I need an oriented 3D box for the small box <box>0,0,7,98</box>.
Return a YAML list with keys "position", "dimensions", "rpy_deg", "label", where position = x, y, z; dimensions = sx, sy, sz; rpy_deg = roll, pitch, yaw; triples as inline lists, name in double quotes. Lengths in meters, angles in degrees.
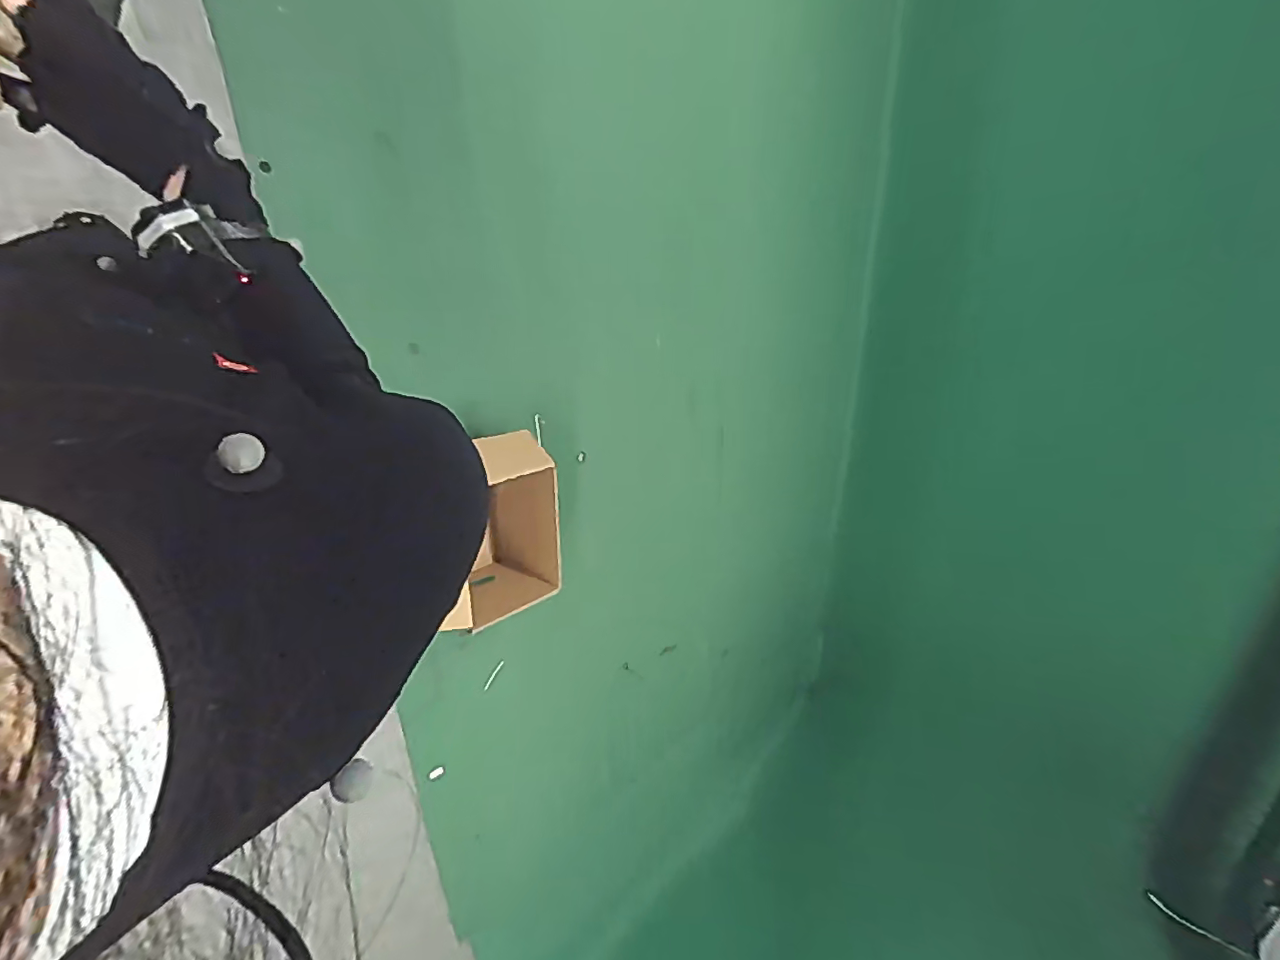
- position: [-0.412, -0.302, 0.236]
  dimensions: [0.168, 0.176, 0.179]
  rpy_deg: [-7, 109, -48]
  label: "small box"
